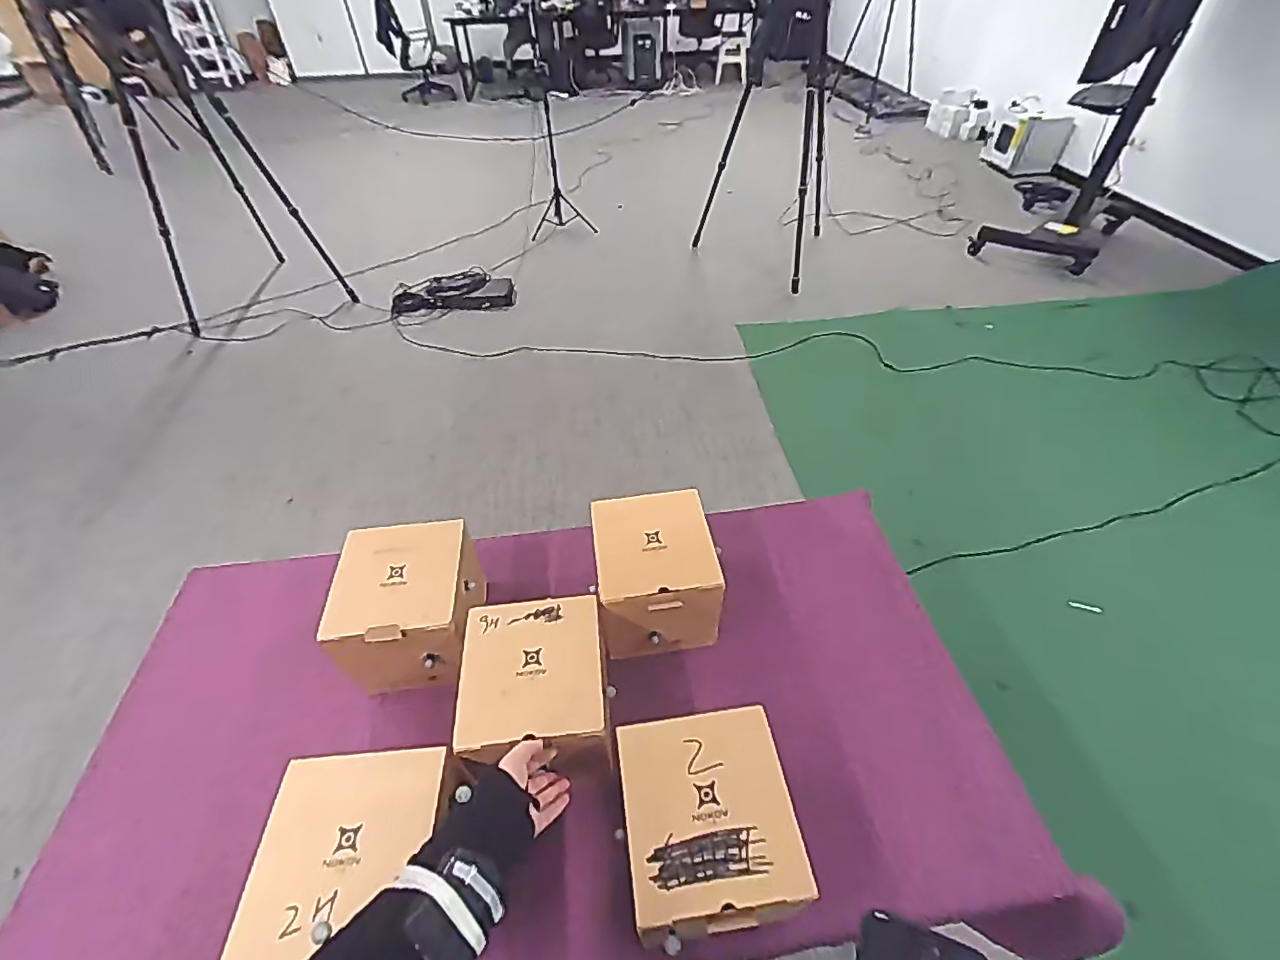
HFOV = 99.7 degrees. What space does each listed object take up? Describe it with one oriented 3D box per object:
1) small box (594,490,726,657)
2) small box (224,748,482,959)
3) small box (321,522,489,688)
[{"bbox_3d":[0.023,0.141,0.819,0.168,0.176,0.179,-8,48,-5],"label":"small box"},{"bbox_3d":[-0.275,0.408,0.571,0.168,0.176,0.179,-4,46,-1],"label":"small box"},{"bbox_3d":[-0.323,0.187,0.788,0.168,0.176,0.179,-5,46,-4],"label":"small box"}]
